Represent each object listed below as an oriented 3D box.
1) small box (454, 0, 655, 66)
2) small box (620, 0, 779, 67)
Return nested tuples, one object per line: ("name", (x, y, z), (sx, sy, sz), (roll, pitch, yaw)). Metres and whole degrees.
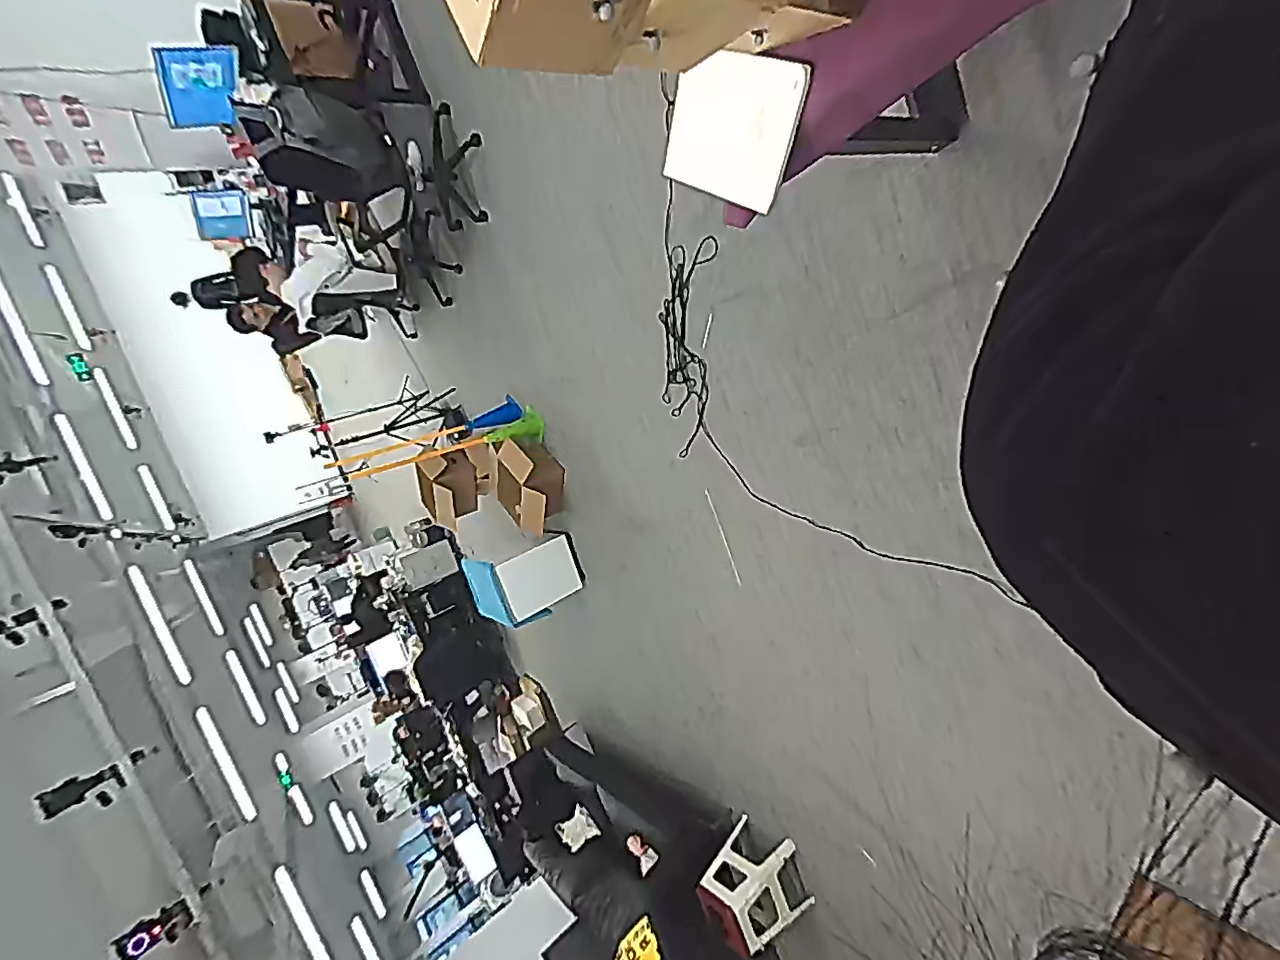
("small box", (-0.086, -0.536, 0.514), (0.168, 0.176, 0.179), (-24, 90, 58))
("small box", (0.044, -0.591, 0.598), (0.179, 0.176, 0.168), (13, 121, 52))
